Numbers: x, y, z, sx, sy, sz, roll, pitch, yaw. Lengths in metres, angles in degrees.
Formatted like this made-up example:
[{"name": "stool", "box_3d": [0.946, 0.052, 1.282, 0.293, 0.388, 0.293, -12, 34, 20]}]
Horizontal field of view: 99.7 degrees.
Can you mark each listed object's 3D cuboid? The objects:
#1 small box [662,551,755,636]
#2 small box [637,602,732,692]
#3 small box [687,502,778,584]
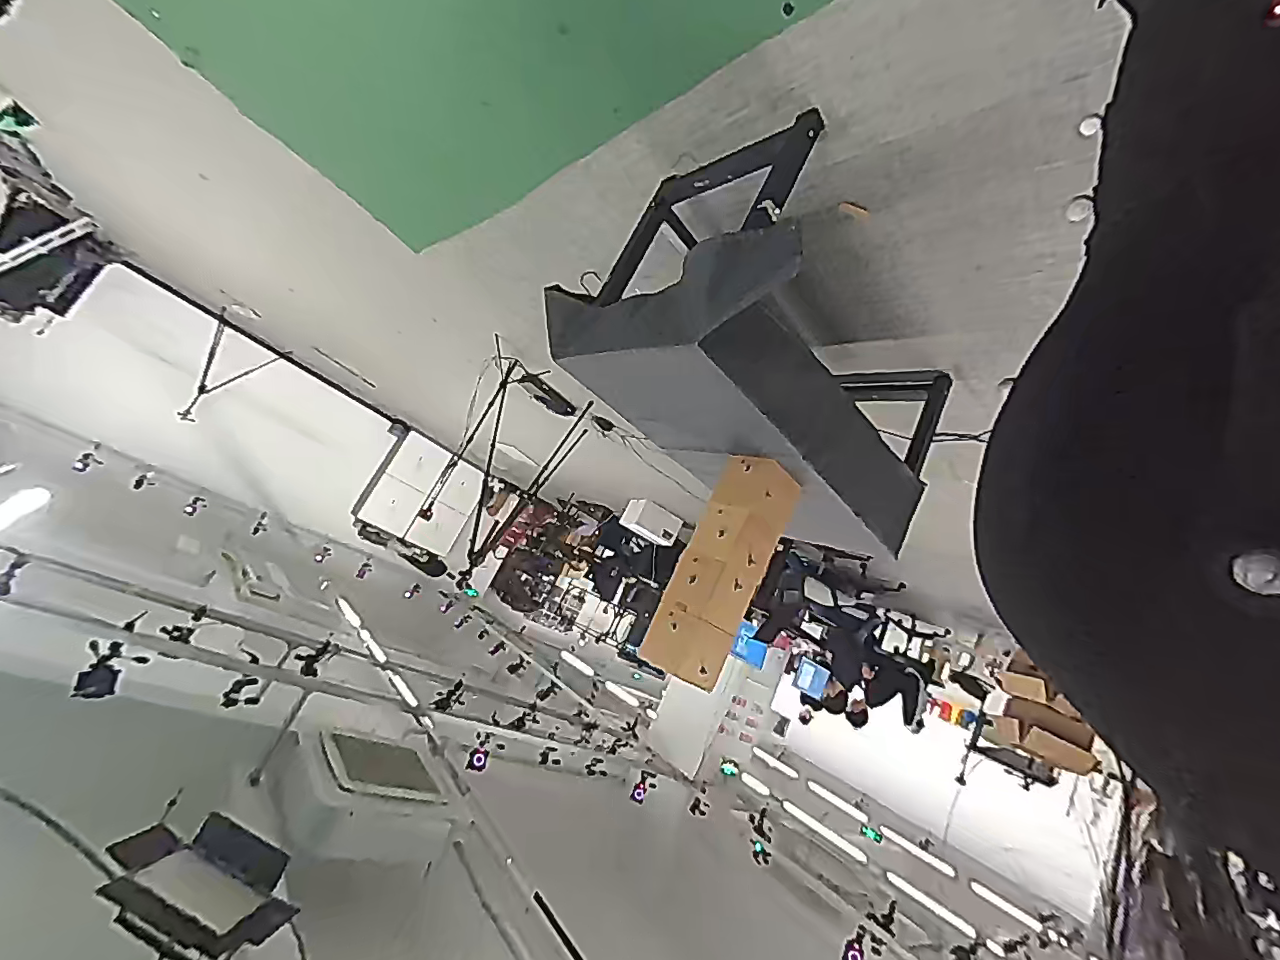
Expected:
[{"name": "small box", "box_3d": [0.201, 0.324, 1.564, 0.168, 0.176, 0.179, 11, 159, 49]}, {"name": "small box", "box_3d": [0.131, 0.469, 1.532, 0.179, 0.176, 0.168, 37, 163, -36]}, {"name": "small box", "box_3d": [0.276, 0.181, 1.596, 0.179, 0.176, 0.168, 37, 164, -36]}]
